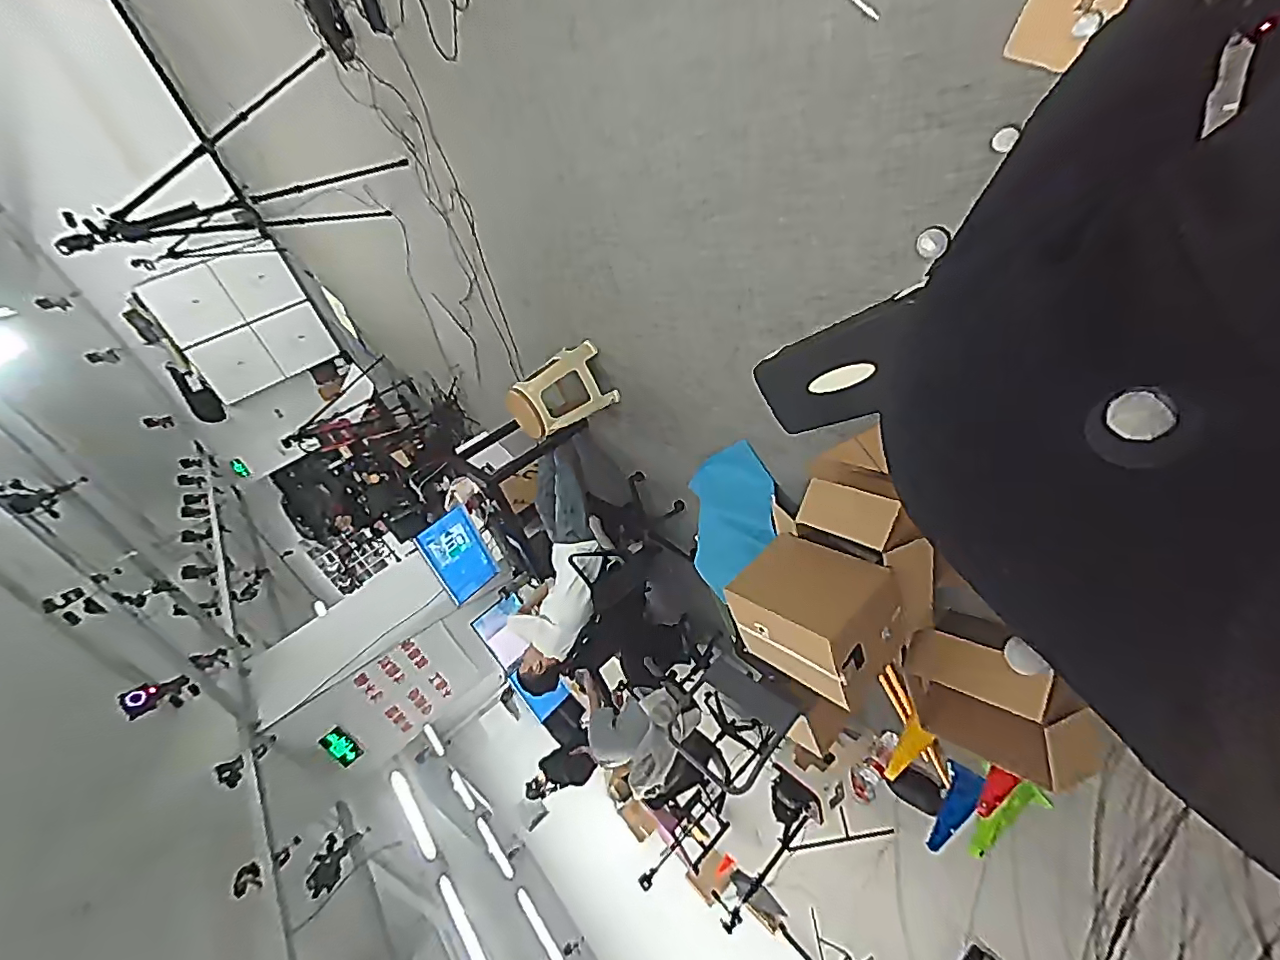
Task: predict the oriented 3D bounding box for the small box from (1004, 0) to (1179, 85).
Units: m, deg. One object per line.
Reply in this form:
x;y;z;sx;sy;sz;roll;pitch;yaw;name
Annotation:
0.719;-0.749;0.828;0.168;0.176;0.179;41;152;24;small box
